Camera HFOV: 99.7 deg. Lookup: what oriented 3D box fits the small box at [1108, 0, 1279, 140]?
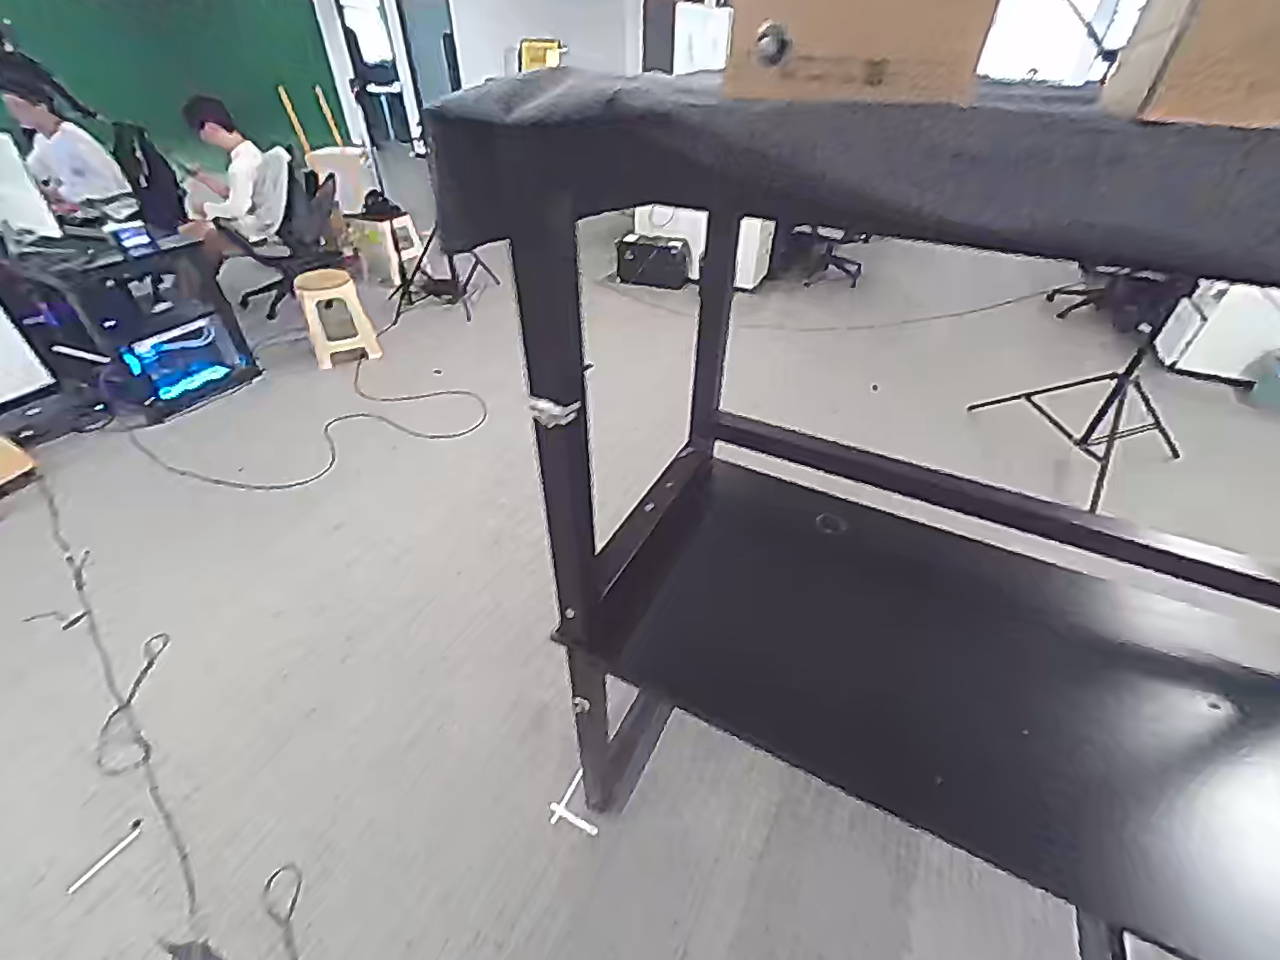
[{"bbox_3d":[0.405,-0.291,0.299,0.168,0.176,0.179,19,40,21],"label":"small box"}]
